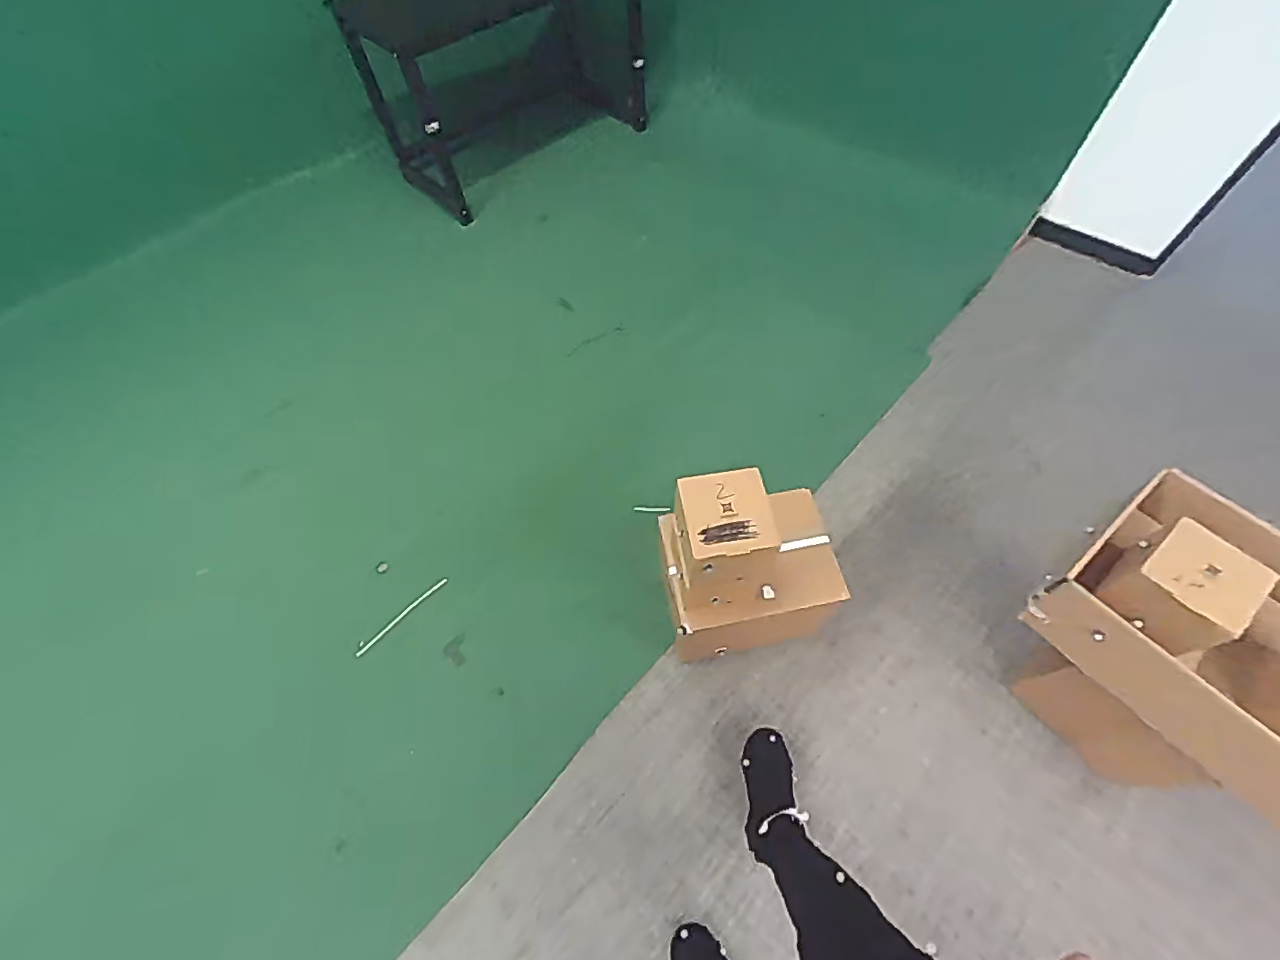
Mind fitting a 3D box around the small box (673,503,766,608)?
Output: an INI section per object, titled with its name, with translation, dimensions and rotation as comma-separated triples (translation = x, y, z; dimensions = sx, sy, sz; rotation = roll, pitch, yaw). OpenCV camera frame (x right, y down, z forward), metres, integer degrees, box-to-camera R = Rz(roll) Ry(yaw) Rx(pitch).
[small box]
translation = 0.172, 0.176, 1.234
dimensions = 0.168, 0.176, 0.179
rotation = -9, 61, -3
